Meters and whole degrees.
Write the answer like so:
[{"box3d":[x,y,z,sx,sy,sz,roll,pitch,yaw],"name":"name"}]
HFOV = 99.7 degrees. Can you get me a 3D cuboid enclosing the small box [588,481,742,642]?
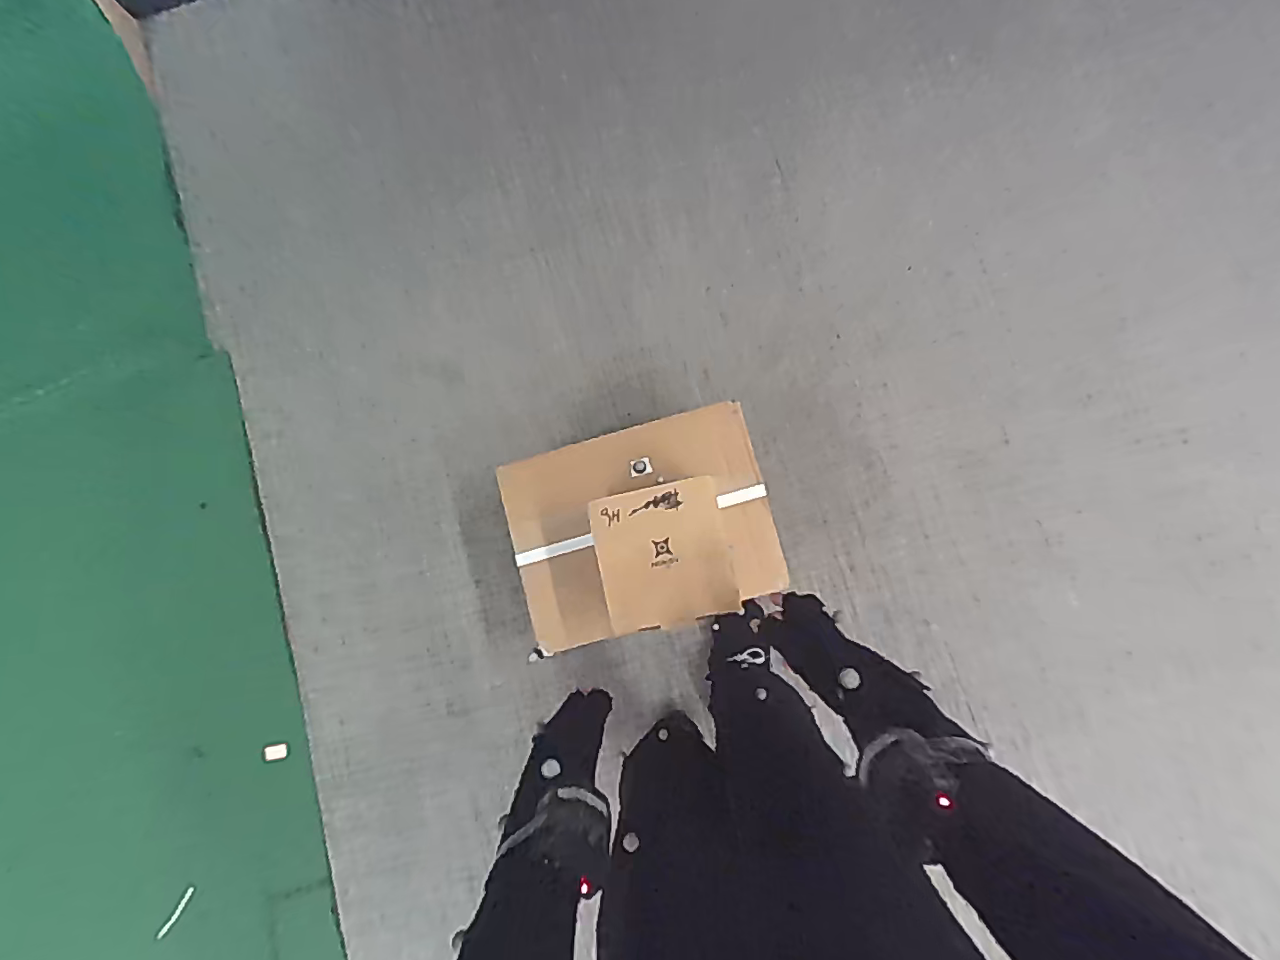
[{"box3d":[0.037,0.107,0.755,0.168,0.176,0.179,-14,84,3],"name":"small box"}]
